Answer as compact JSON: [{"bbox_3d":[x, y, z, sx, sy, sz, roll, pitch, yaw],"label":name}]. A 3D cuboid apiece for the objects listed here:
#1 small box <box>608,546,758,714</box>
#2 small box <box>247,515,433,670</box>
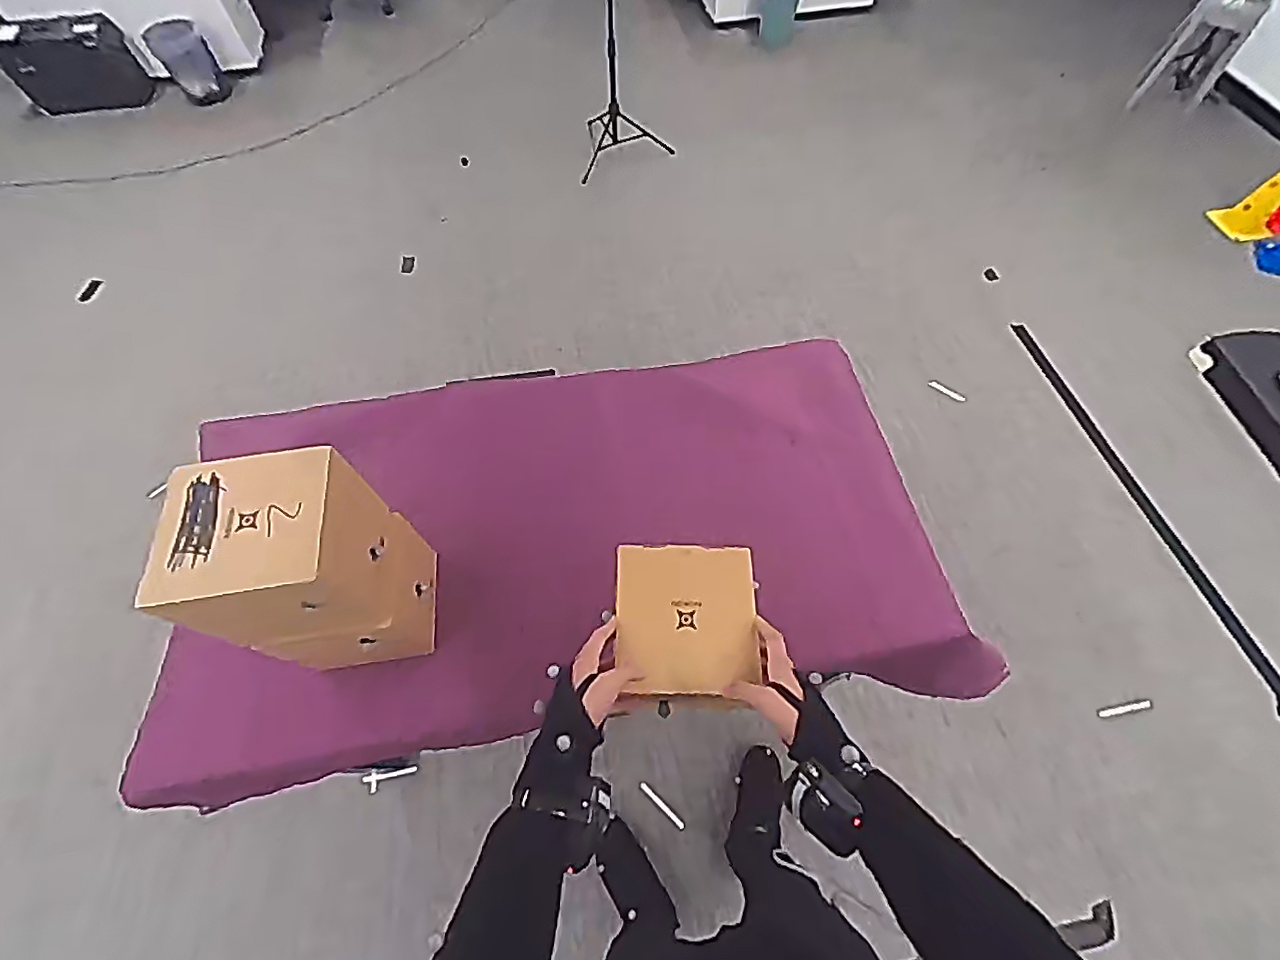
[{"bbox_3d":[0.046,0.198,0.693,0.168,0.176,0.179,1,59,-2],"label":"small box"},{"bbox_3d":[-0.412,0.167,0.781,0.179,0.176,0.168,-7,61,-4],"label":"small box"}]
